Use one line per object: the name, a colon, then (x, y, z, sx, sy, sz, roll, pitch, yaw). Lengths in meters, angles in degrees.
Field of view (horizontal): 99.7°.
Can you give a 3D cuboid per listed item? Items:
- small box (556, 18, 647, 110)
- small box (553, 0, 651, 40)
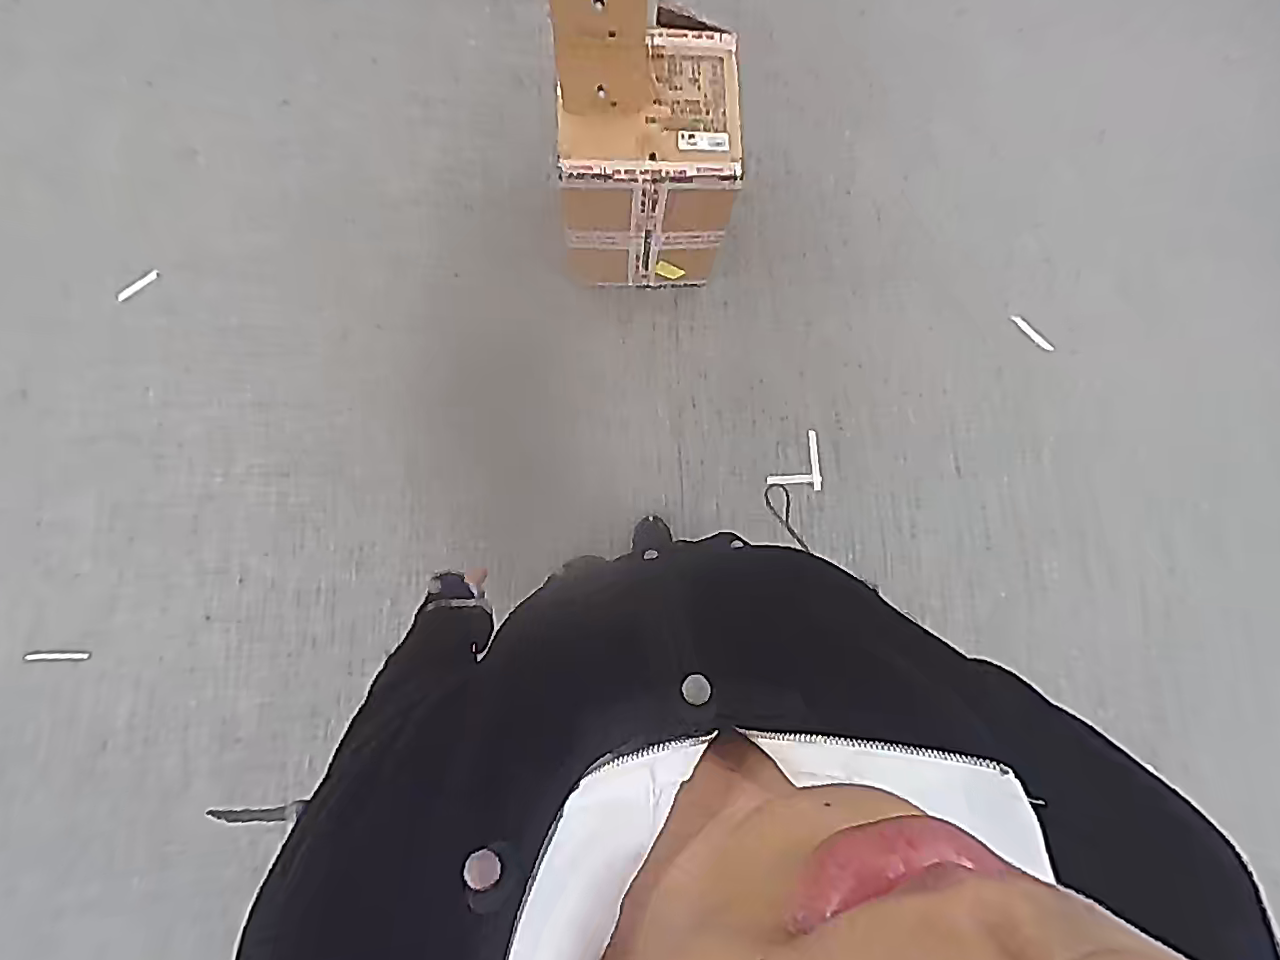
small box: (-0.073, -0.866, 1.056, 0.168, 0.176, 0.179, -2, 85, -1)
small box: (-0.064, -0.873, 0.891, 0.168, 0.176, 0.179, -1, 85, -1)
